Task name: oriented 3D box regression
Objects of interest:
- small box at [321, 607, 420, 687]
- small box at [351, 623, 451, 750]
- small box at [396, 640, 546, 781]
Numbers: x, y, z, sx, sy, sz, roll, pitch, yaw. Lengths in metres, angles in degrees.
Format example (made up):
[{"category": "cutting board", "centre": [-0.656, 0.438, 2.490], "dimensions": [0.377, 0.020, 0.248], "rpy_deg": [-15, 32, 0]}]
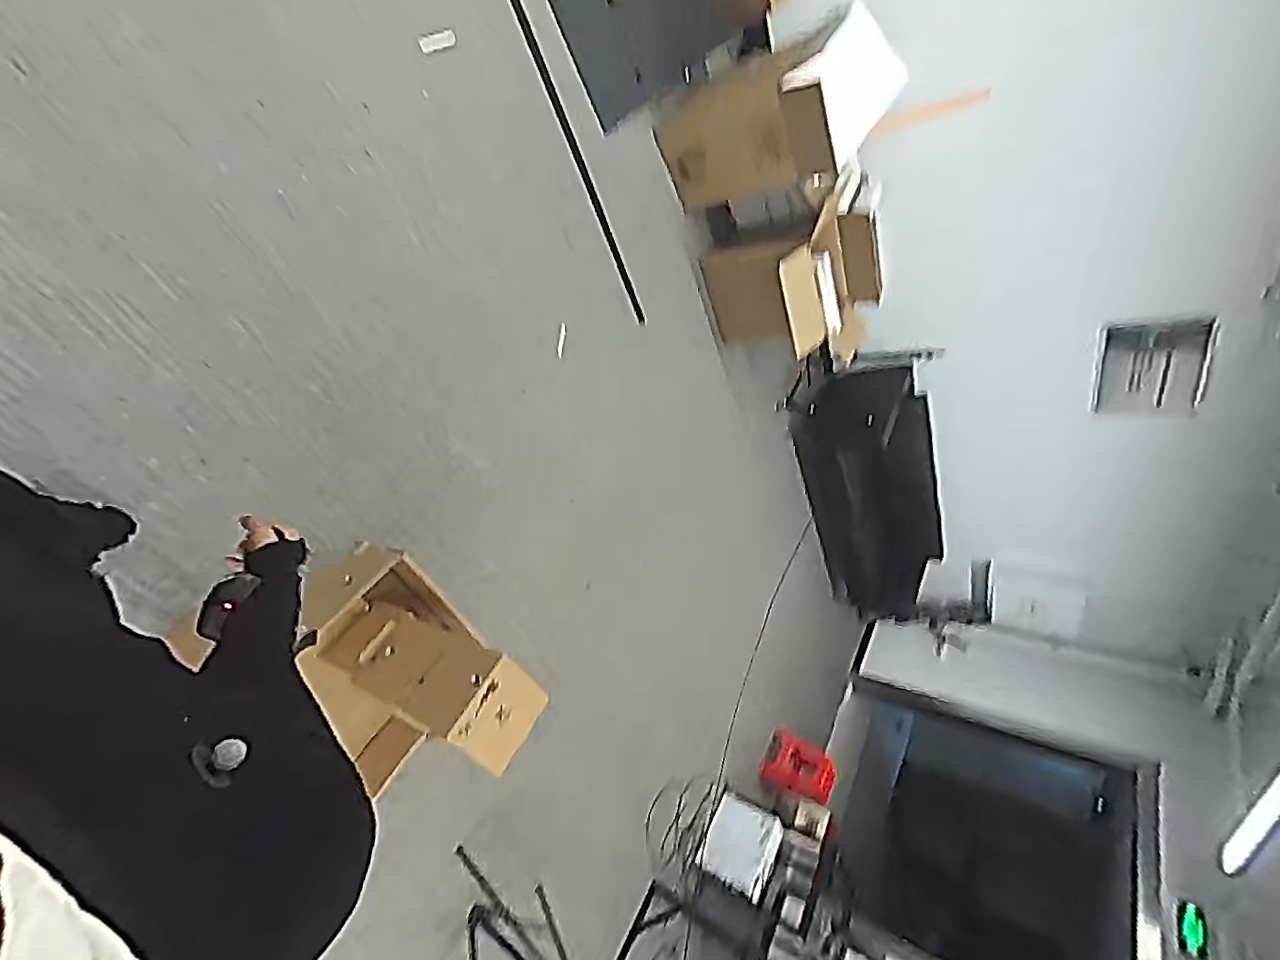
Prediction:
[{"category": "small box", "centre": [-0.583, 0.410, 1.240], "dimensions": [0.168, 0.176, 0.179], "rpy_deg": [-54, 135, -34]}, {"category": "small box", "centre": [-0.457, 0.425, 1.135], "dimensions": [0.168, 0.176, 0.179], "rpy_deg": [-56, 134, -33]}, {"category": "small box", "centre": [-0.322, 0.434, 1.040], "dimensions": [0.168, 0.176, 0.179], "rpy_deg": [-56, 136, -33]}]
